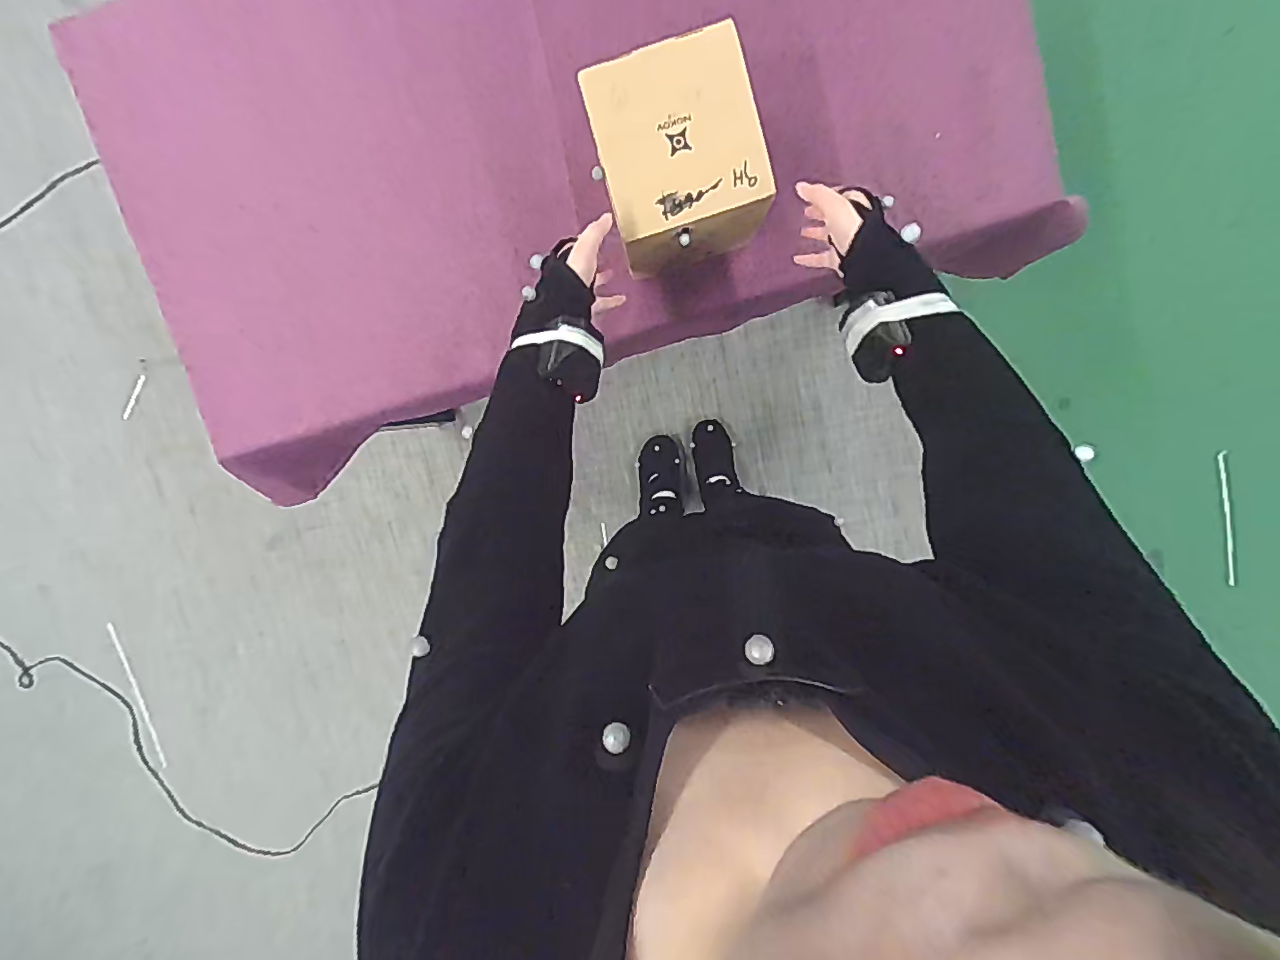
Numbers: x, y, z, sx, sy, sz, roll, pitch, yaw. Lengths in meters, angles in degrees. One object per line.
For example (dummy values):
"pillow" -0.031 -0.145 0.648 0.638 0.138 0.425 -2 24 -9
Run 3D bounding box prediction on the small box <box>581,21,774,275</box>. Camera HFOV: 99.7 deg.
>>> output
"small box" 0.043 -0.364 0.630 0.168 0.176 0.179 -15 97 6
